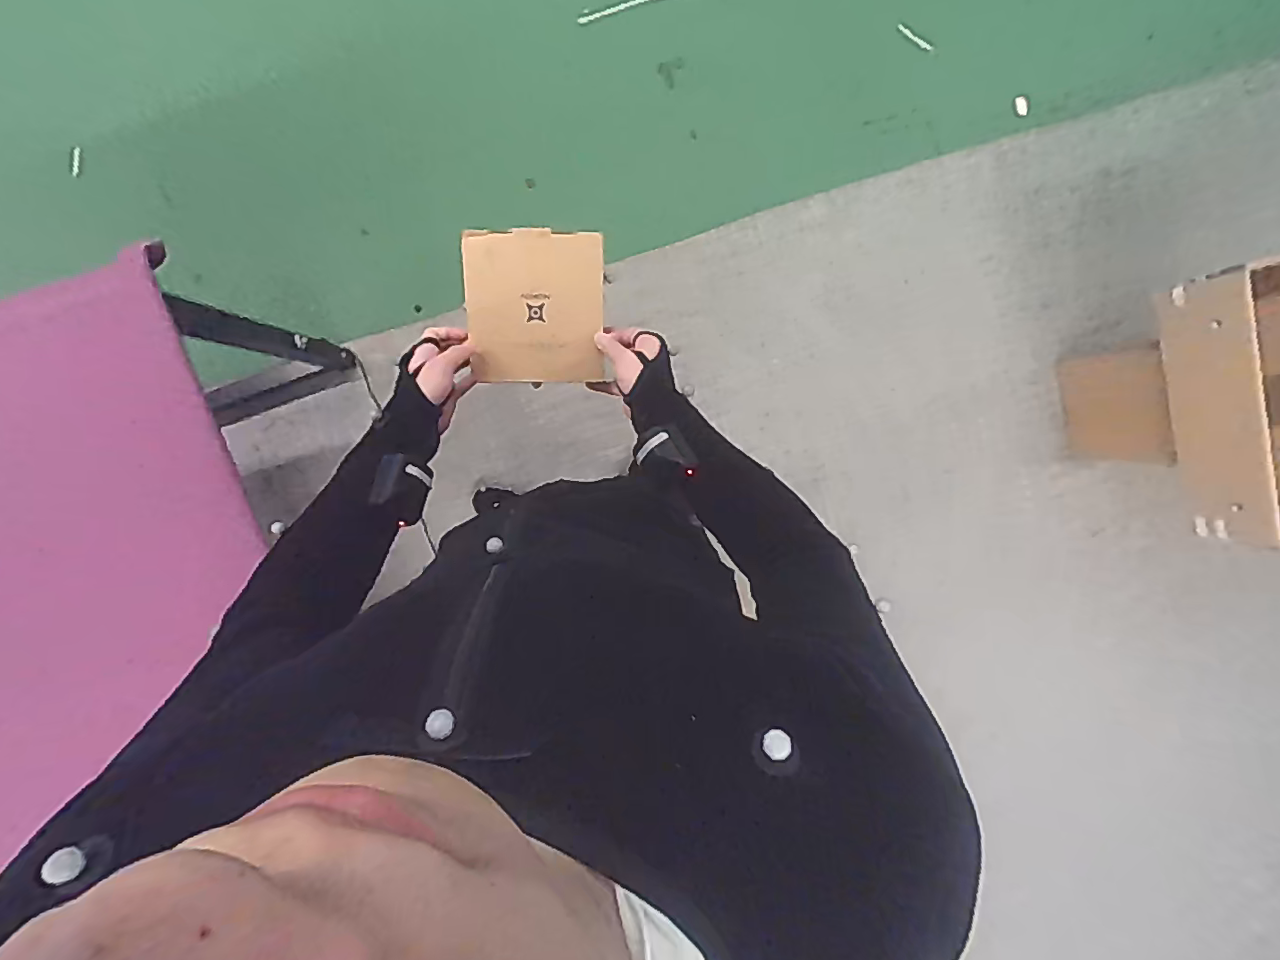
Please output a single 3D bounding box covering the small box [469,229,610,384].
[{"bbox_3d":[-0.126,-0.224,0.728,0.168,0.176,0.179,1,104,-4],"label":"small box"}]
